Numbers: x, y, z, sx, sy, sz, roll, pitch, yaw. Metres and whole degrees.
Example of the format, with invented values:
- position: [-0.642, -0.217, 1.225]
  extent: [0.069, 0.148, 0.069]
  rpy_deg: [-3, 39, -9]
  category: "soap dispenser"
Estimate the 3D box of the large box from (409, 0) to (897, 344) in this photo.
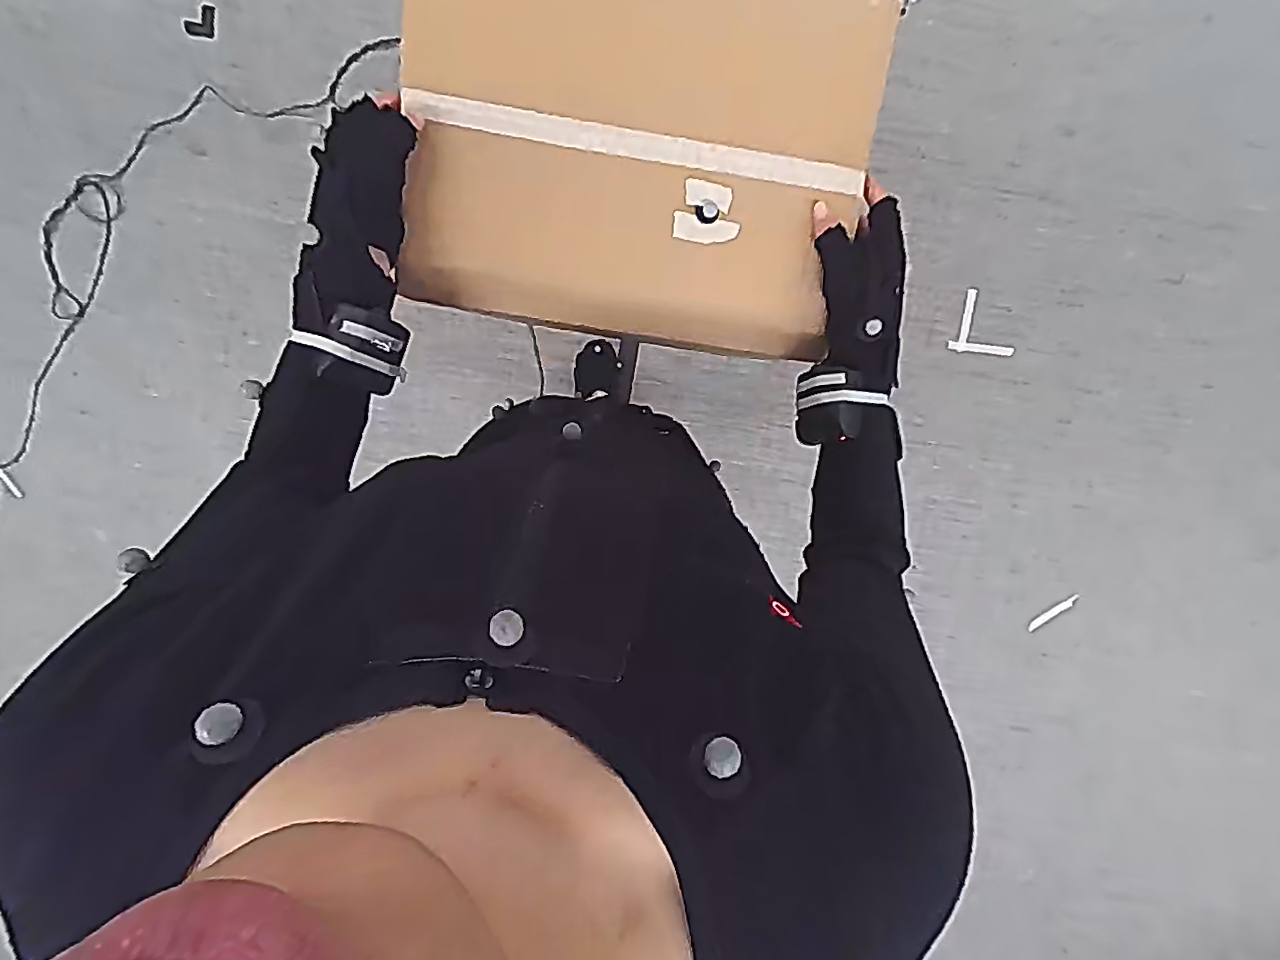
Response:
- position: [-0.005, -0.338, 0.615]
  extent: [0.408, 0.320, 0.320]
  rpy_deg: [7, 104, -5]
  category: "large box"
